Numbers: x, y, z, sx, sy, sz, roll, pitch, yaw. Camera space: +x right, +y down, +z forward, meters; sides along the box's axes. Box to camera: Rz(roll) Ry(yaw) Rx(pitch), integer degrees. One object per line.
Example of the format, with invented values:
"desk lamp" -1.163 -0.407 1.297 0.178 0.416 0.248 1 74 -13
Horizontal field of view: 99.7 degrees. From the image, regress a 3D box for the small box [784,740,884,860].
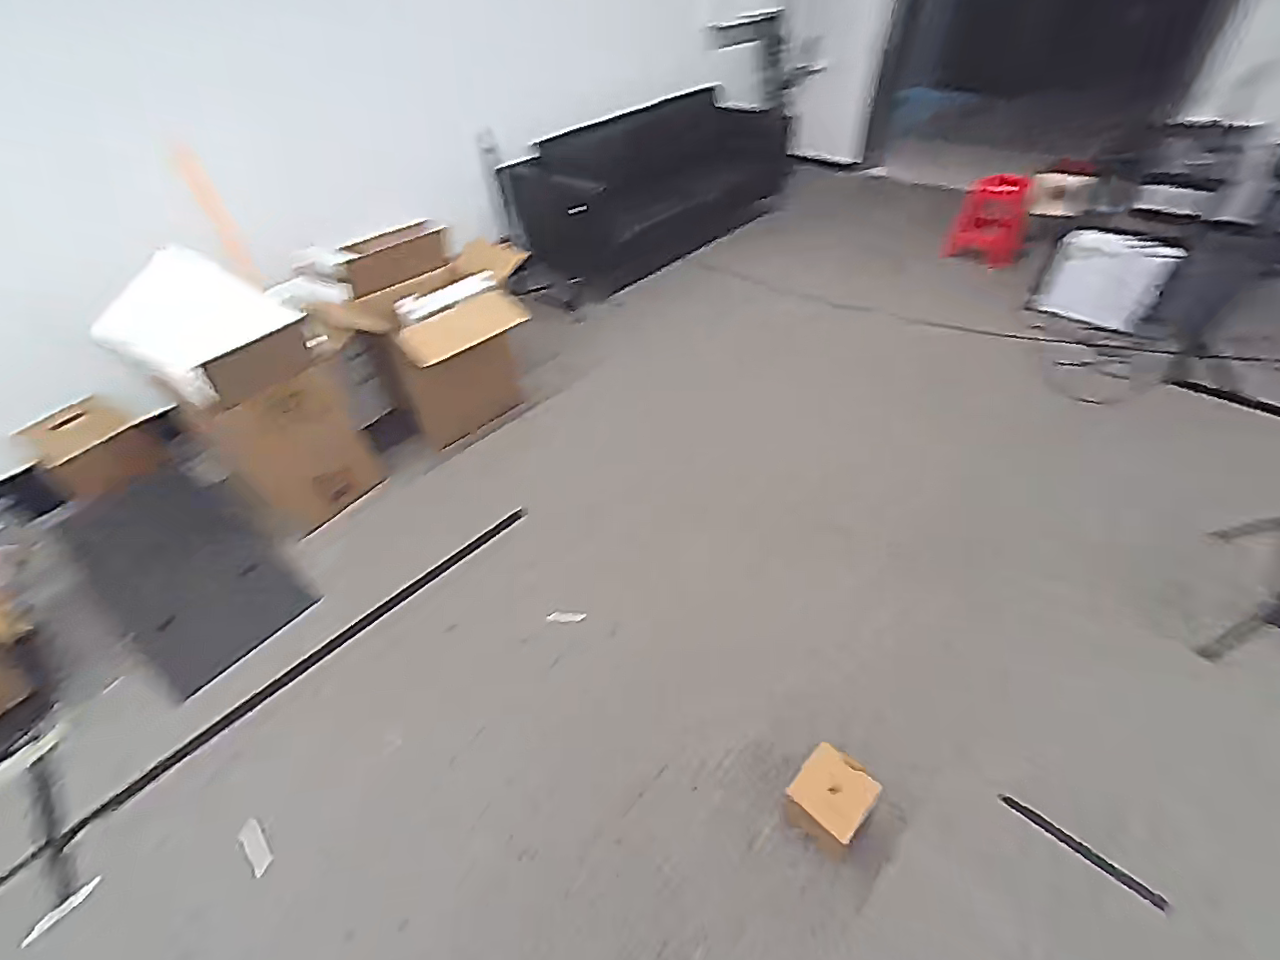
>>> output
"small box" 0.484 0.813 1.374 0.179 0.176 0.168 -35 50 -28
